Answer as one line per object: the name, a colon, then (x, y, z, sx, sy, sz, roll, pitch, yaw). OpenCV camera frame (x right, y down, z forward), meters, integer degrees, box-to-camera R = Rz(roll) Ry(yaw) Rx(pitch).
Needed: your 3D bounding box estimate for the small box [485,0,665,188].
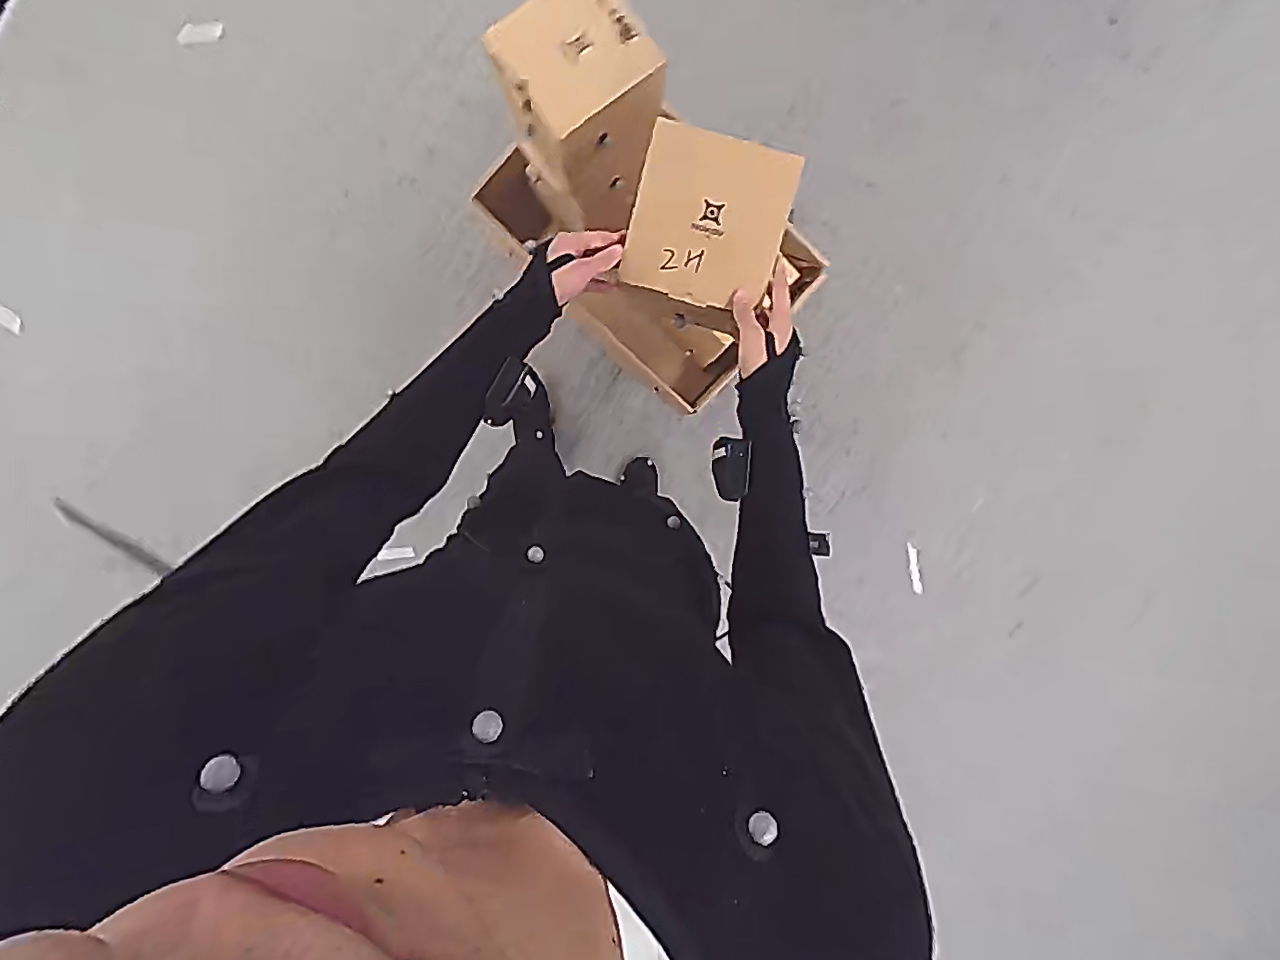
small box: (-0.081, -0.556, 0.761, 0.179, 0.176, 0.168, -35, 94, 2)

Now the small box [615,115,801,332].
small box: (0.074, -0.295, 0.663, 0.168, 0.176, 0.179, 15, 99, 0)

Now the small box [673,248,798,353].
small box: (0.138, -0.341, 0.943, 0.168, 0.176, 0.179, -44, 92, 2)

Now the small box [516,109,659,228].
small box: (-0.079, -0.572, 0.924, 0.179, 0.176, 0.168, -39, 93, 1)
